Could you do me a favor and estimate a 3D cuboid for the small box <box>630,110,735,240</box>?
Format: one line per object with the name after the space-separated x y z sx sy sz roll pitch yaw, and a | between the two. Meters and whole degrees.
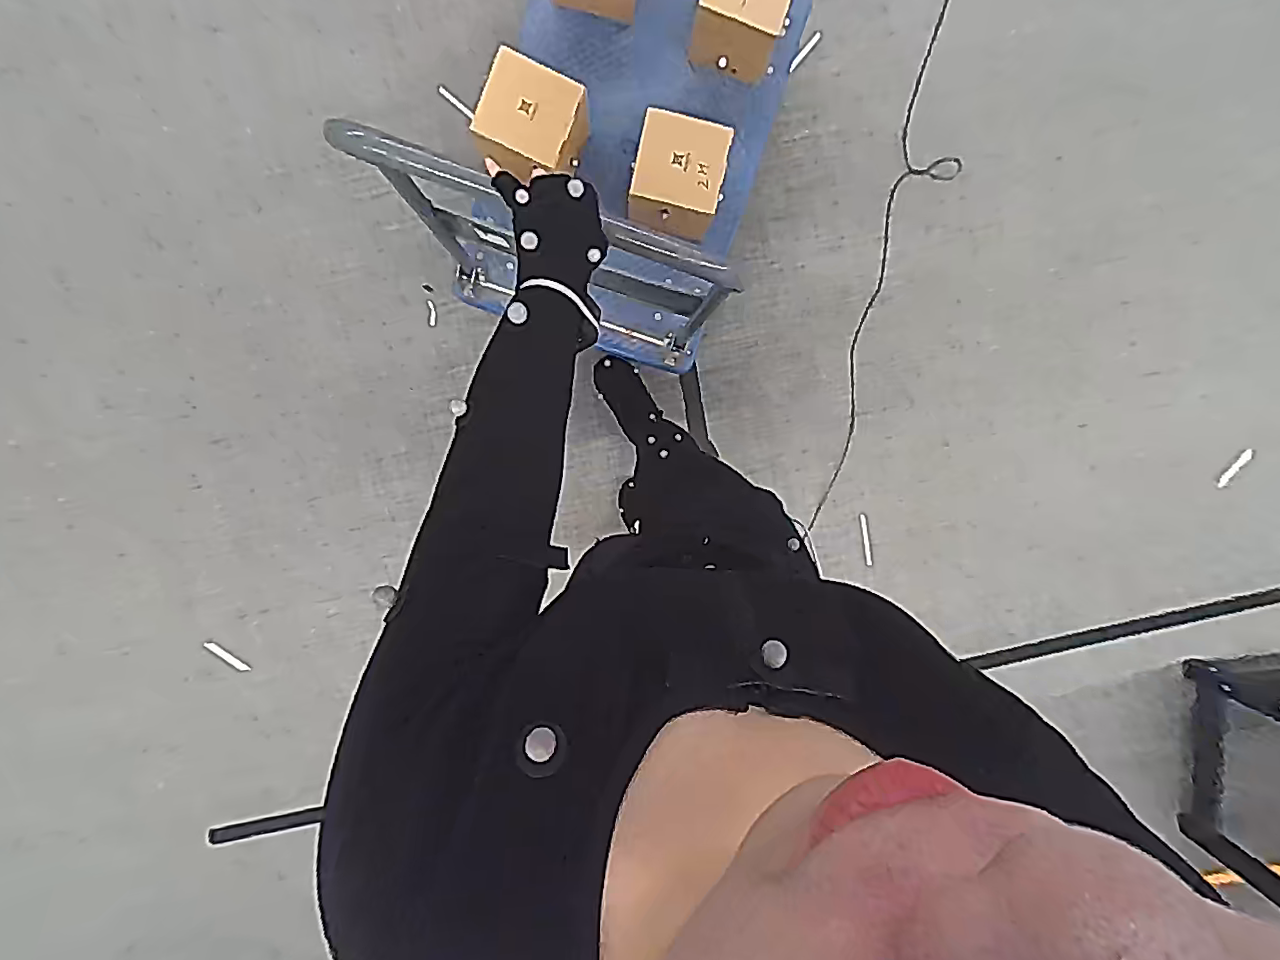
0.080 -0.624 1.128 0.179 0.176 0.168 13 97 -3 | small box

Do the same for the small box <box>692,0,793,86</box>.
0.213 -0.955 1.090 0.168 0.176 0.179 19 97 -4 | small box

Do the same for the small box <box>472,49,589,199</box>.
-0.214 -0.712 1.107 0.179 0.176 0.168 23 95 -6 | small box
